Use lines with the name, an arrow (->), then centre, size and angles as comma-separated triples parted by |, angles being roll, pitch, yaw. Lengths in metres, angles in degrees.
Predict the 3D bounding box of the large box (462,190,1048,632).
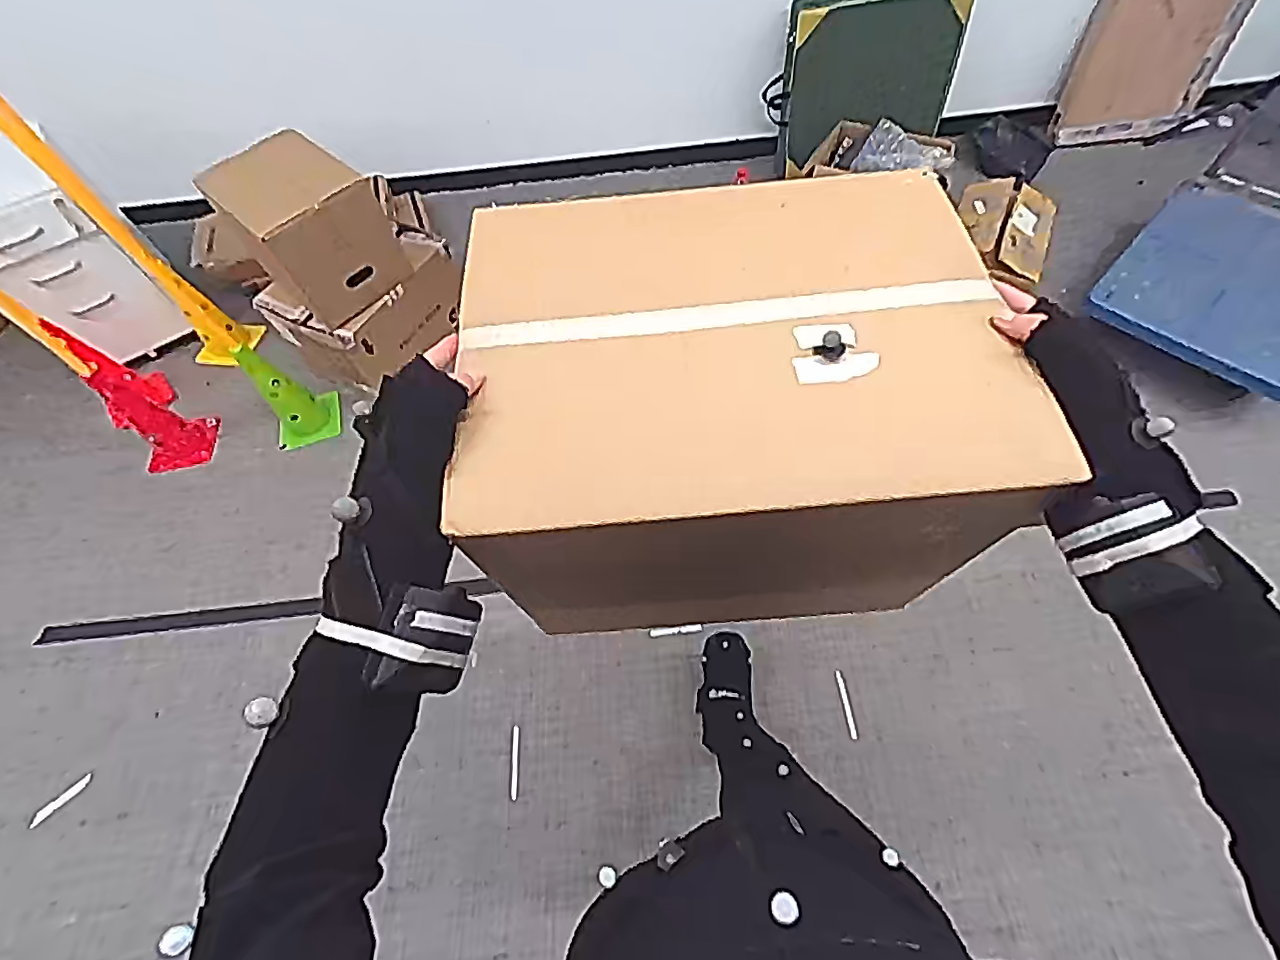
large box -> 0.071, -0.047, 0.560 | 0.408, 0.320, 0.320 | -5, 62, 1
